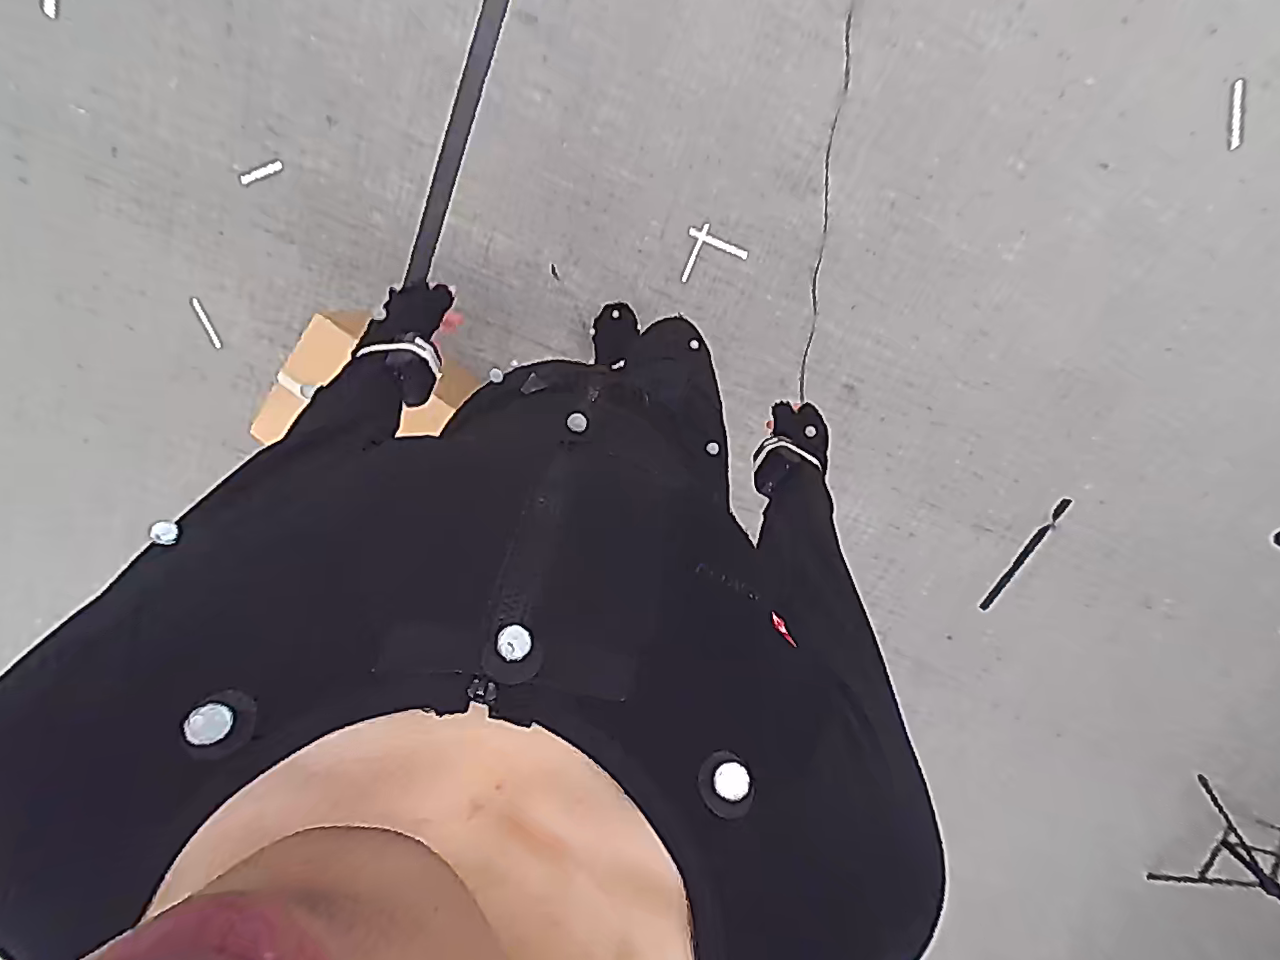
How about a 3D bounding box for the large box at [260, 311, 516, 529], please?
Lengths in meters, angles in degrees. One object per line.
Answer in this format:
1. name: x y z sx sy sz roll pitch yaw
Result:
1. large box: -0.569 -0.158 1.296 0.408 0.320 0.320 36 105 -13
